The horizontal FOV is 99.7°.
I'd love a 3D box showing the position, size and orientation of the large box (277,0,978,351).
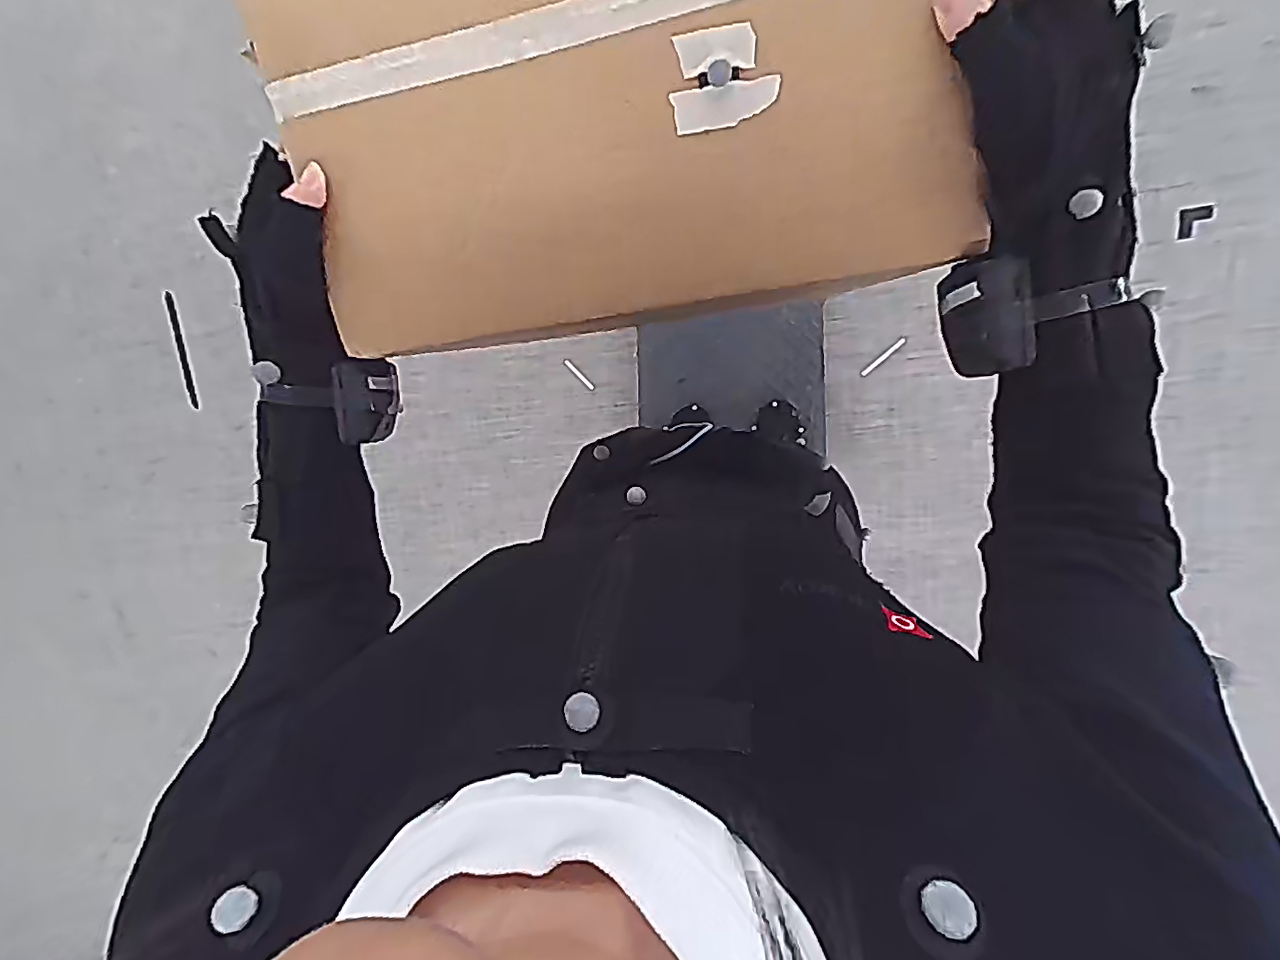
[{"bbox_3d":[-0.003,-0.302,0.455,0.408,0.320,0.320,-7,105,10],"label":"large box"}]
